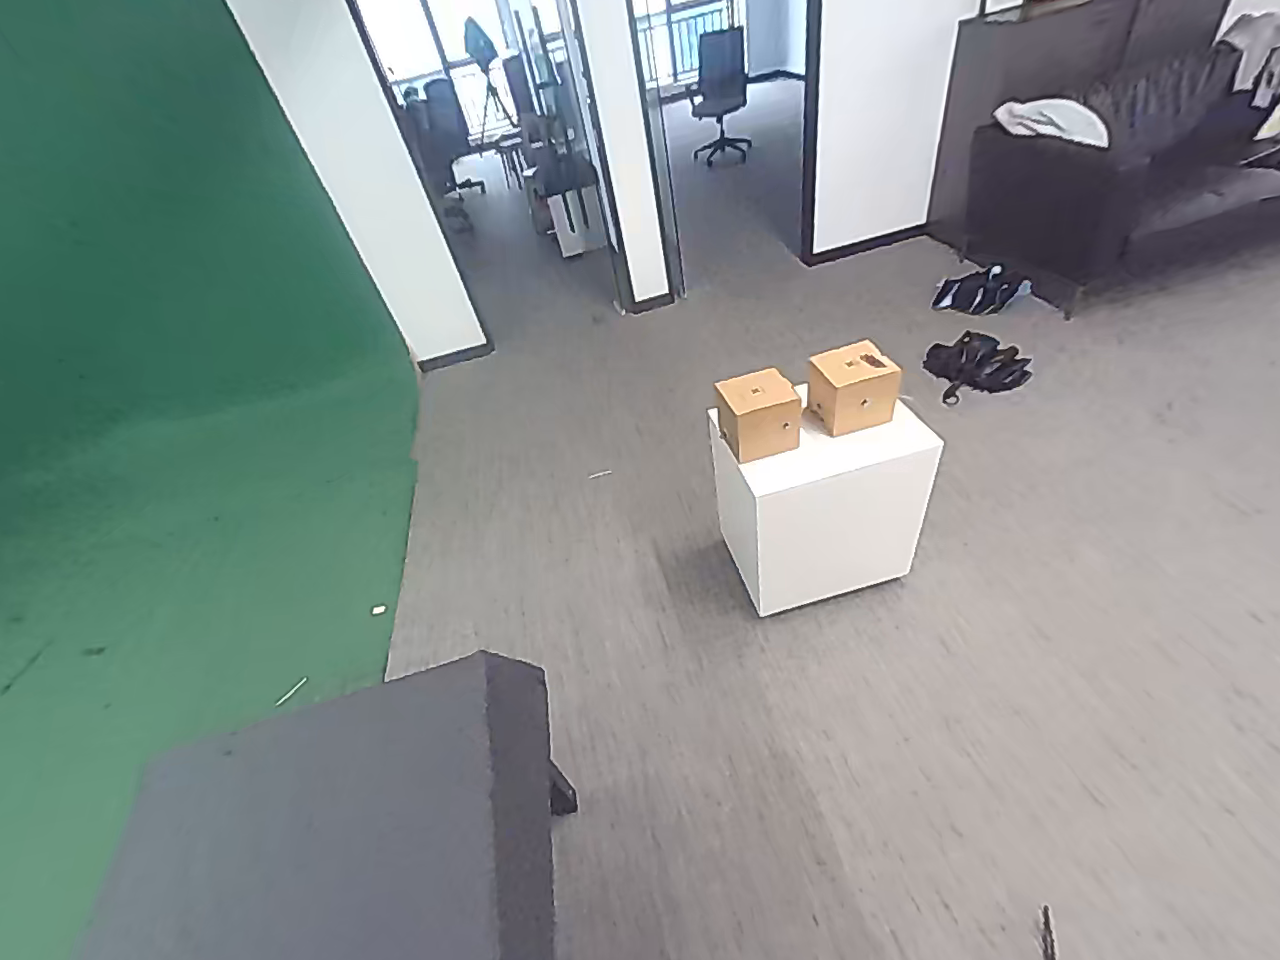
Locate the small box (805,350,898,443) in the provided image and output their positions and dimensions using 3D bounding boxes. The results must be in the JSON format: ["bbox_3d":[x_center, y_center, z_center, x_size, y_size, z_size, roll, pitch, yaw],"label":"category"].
[{"bbox_3d":[0.566,-0.225,1.470,0.179,0.176,0.168,-15,42,-3],"label":"small box"}]

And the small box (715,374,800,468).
[{"bbox_3d":[0.310,-0.157,1.452,0.179,0.176,0.168,-16,41,-5],"label":"small box"}]
